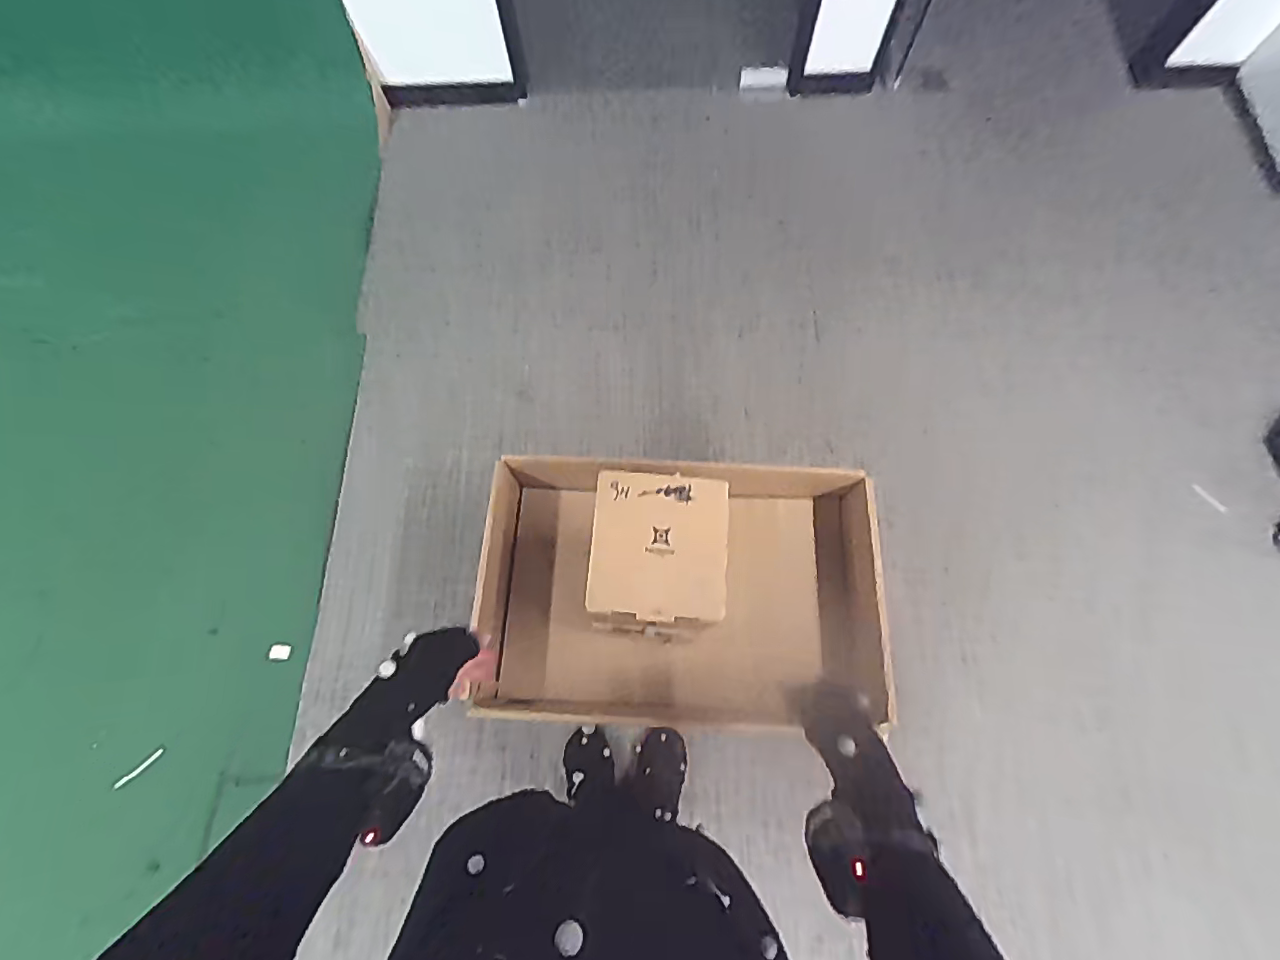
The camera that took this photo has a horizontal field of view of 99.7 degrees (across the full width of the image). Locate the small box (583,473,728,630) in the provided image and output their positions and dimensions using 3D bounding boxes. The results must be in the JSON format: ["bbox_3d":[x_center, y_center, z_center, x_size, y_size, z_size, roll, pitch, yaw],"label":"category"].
[{"bbox_3d":[0.020,0.104,0.726,0.168,0.176,0.179,5,72,-1],"label":"small box"}]

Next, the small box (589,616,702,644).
[{"bbox_3d":[0.013,0.168,0.878,0.168,0.176,0.179,5,69,-1],"label":"small box"}]
